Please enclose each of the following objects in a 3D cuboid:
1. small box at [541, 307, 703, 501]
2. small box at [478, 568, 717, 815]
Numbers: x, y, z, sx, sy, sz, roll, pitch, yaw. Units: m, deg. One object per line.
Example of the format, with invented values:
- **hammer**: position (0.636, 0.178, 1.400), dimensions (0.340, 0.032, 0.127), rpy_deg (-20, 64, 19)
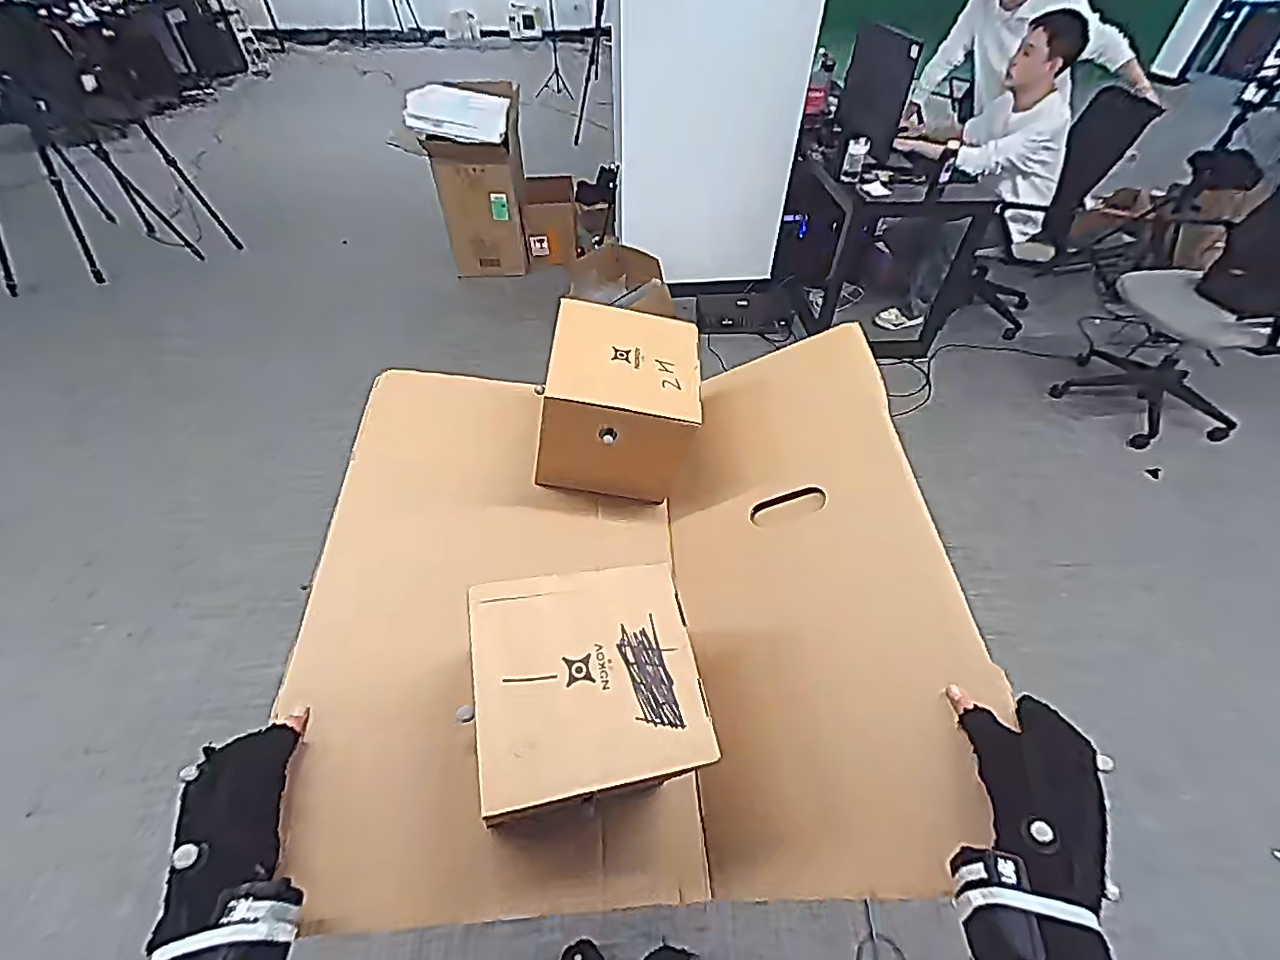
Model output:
- **small box**: position (-0.028, -0.090, 0.699), dimensions (0.179, 0.176, 0.168), rpy_deg (10, 55, -9)
- **small box**: position (-0.054, 0.195, 0.497), dimensions (0.179, 0.176, 0.168), rpy_deg (-4, 58, -17)
